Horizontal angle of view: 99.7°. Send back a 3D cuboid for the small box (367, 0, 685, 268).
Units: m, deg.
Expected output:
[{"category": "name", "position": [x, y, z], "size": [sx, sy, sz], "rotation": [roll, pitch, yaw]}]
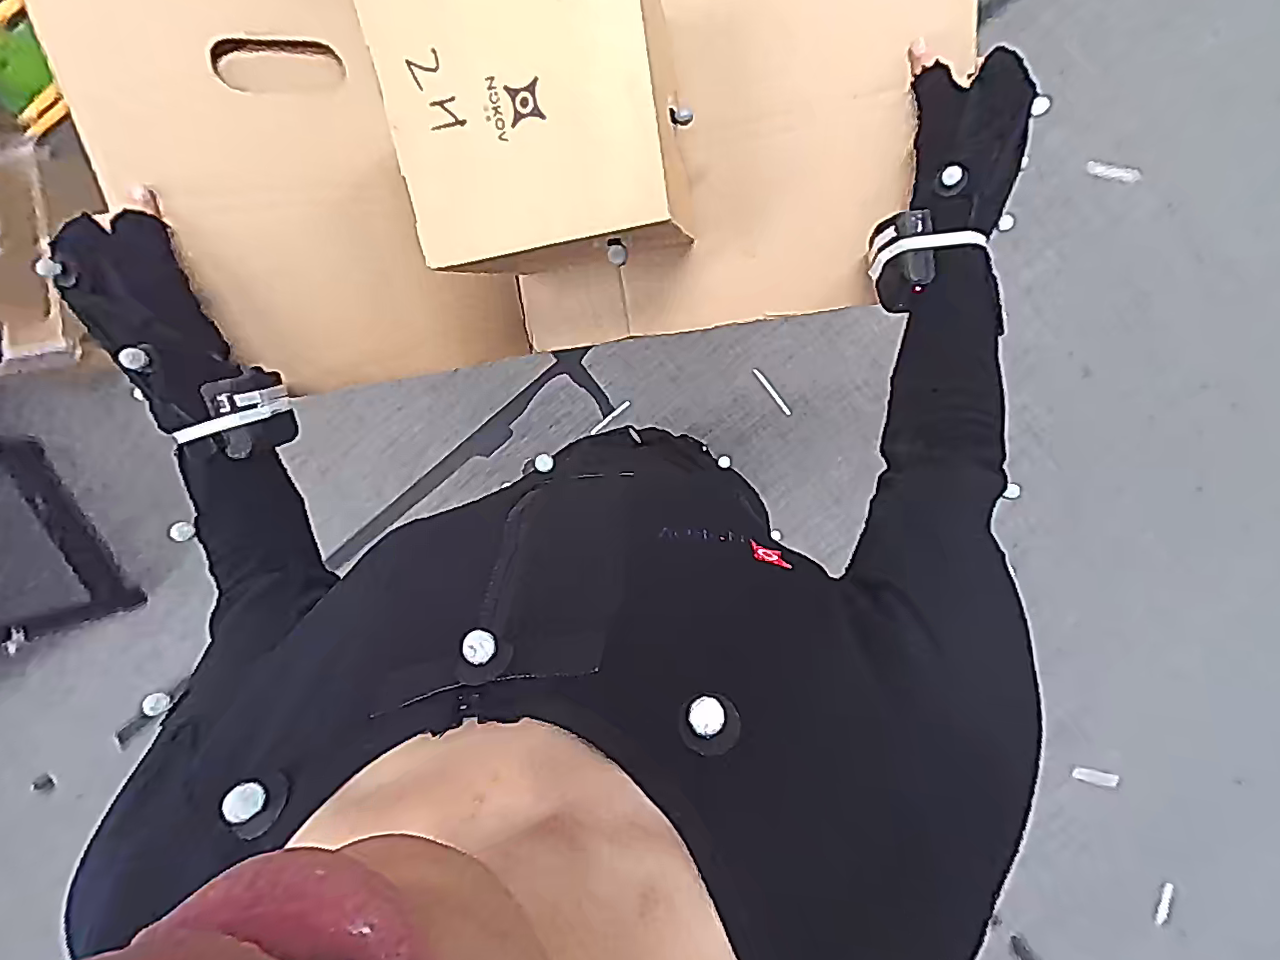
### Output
[{"category": "small box", "position": [-0.062, -0.263, 0.416], "size": [0.179, 0.176, 0.168], "rotation": [-4, 108, 14]}]
